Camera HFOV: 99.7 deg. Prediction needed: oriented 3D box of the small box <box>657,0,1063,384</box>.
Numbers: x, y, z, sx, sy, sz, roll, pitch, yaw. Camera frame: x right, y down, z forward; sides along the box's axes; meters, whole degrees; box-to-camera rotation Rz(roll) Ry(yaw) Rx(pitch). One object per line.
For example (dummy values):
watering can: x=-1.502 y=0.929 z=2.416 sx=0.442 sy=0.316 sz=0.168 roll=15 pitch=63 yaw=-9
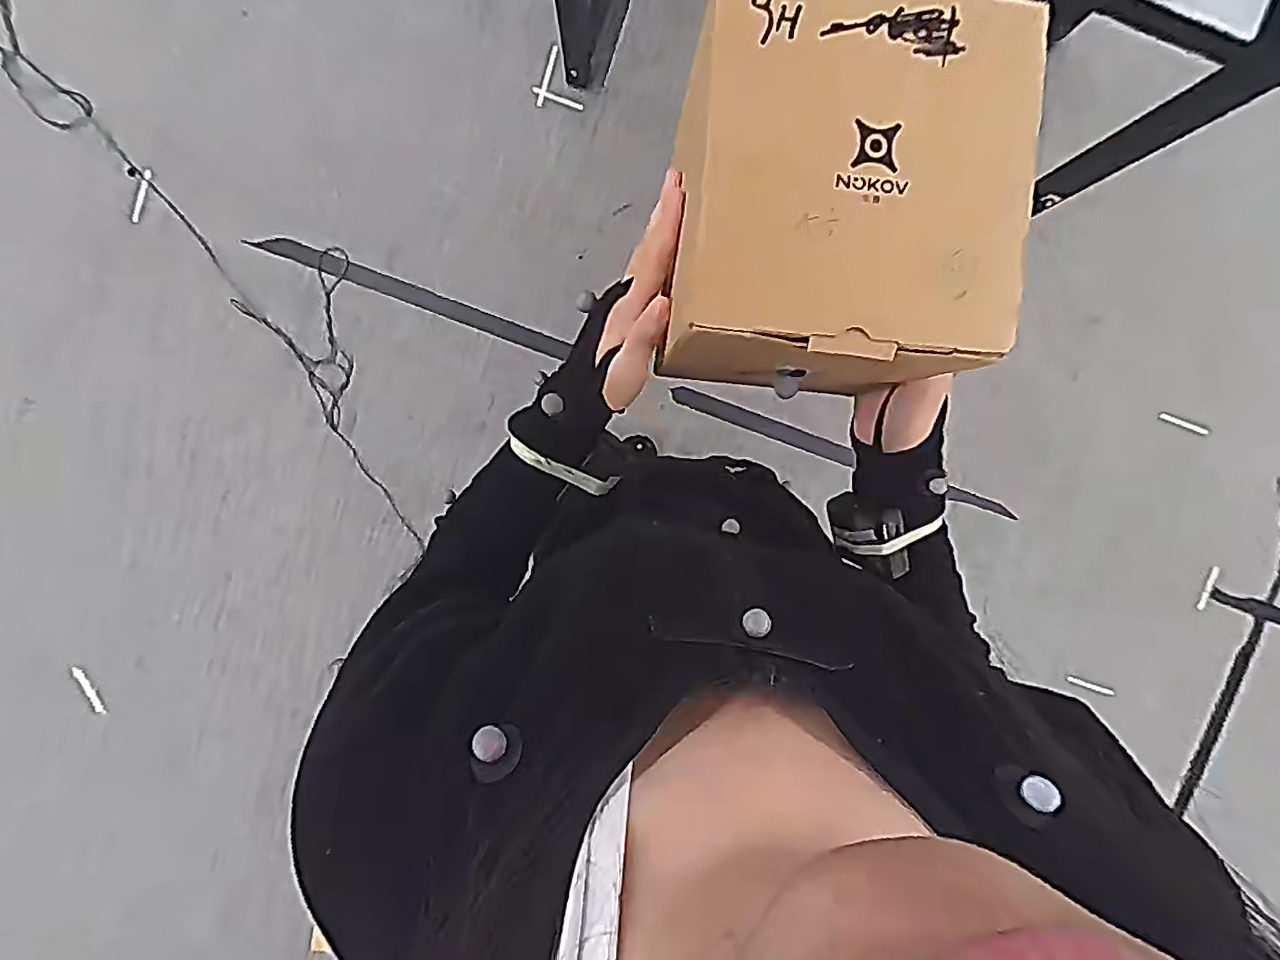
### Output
small box: x=0.105 y=-0.158 z=0.334 sx=0.168 sy=0.176 sz=0.179 roll=4 pitch=94 yaw=-6
